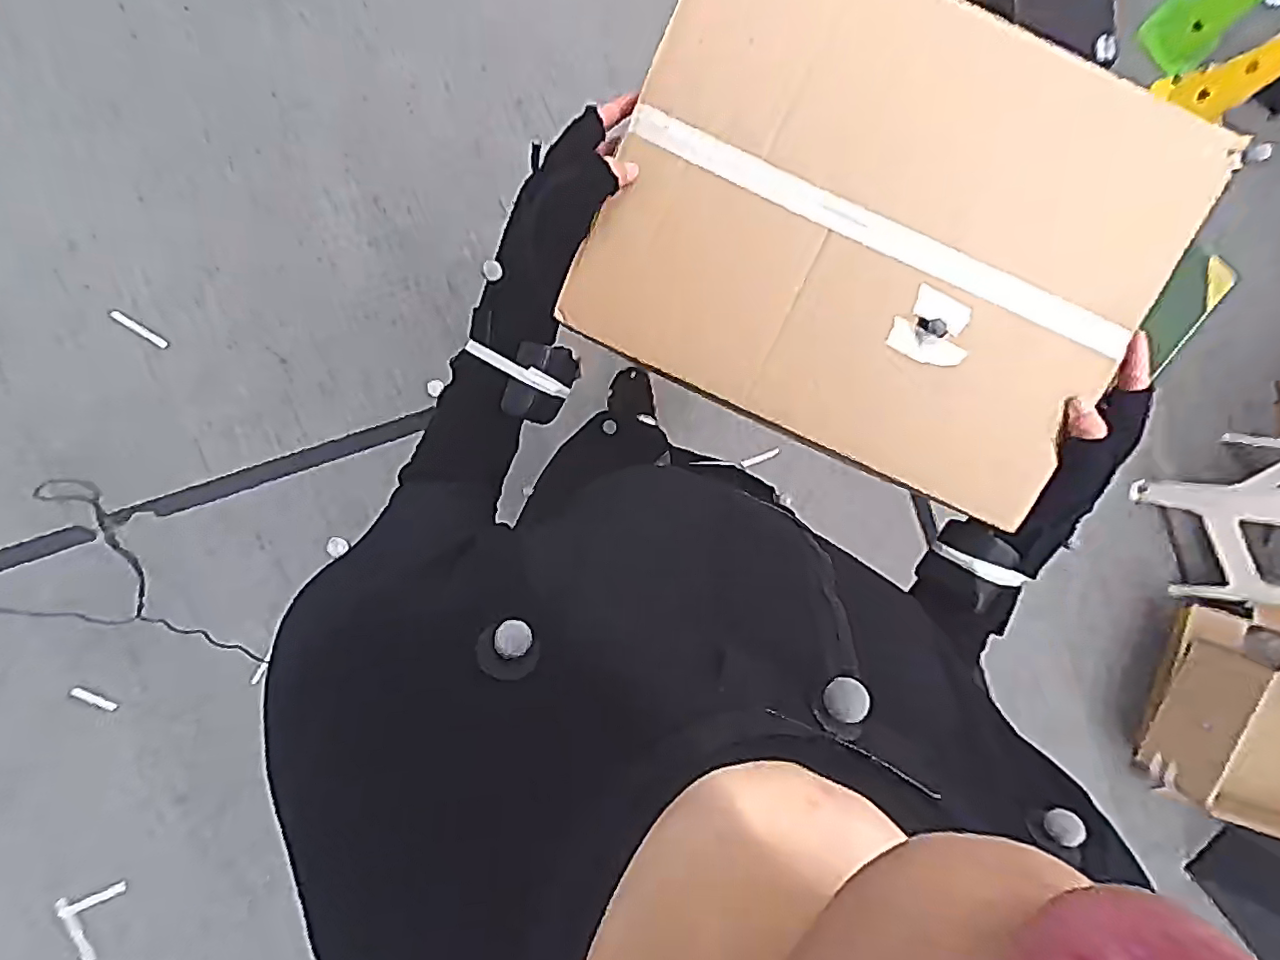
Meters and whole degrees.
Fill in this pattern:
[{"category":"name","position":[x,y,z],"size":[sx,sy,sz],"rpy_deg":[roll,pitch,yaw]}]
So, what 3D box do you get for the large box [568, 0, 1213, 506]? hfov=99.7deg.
[{"category":"large box","position":[0.186,-0.217,0.562],"size":[0.408,0.320,0.320],"rpy_deg":[25,101,-2]}]
